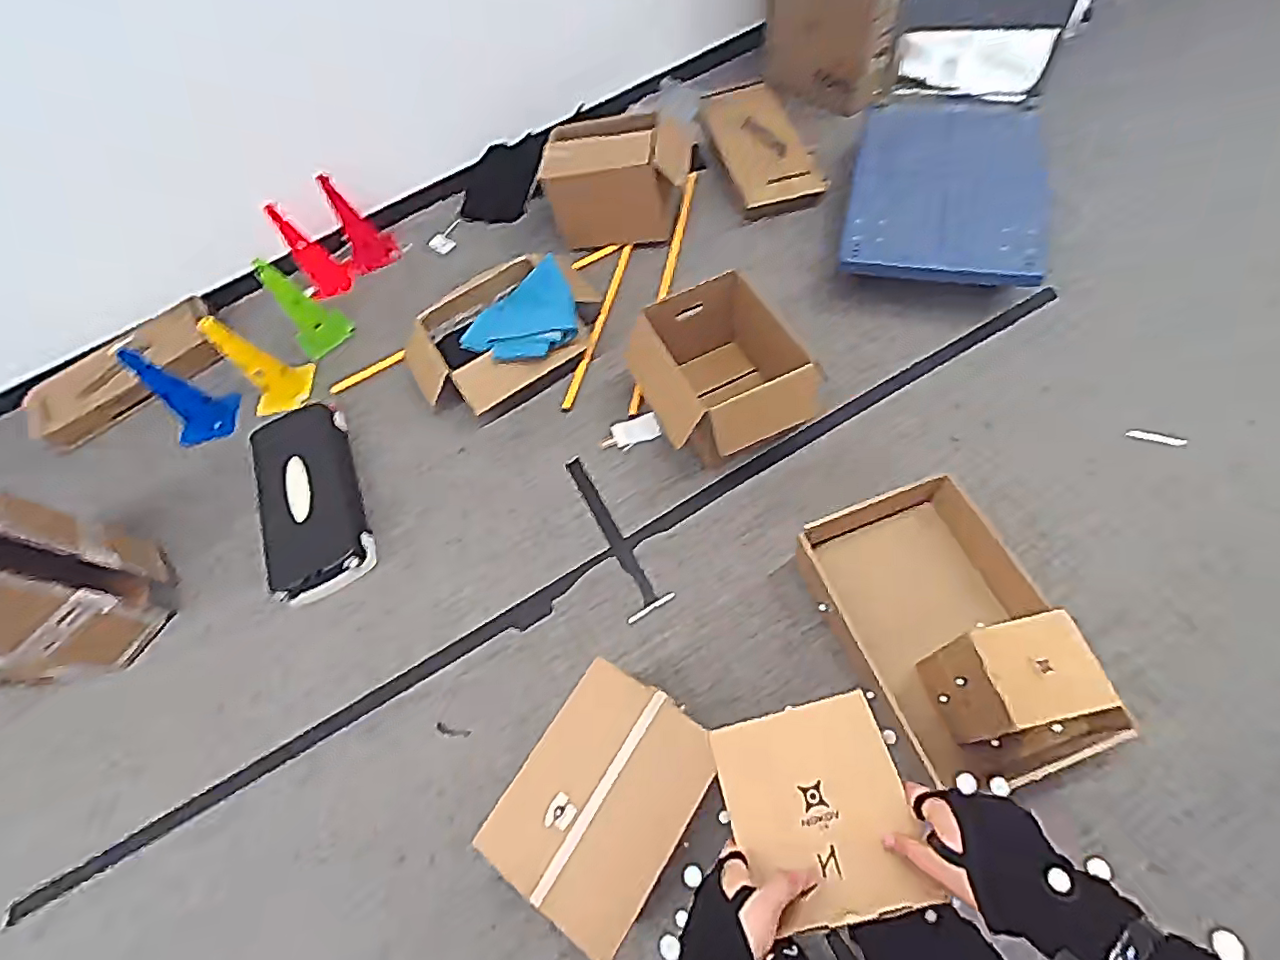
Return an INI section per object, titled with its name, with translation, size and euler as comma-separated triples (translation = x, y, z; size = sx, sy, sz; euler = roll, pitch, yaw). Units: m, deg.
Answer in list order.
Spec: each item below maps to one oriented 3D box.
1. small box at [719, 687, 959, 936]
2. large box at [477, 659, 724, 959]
[small box]
translation = 0.193, 0.339, 0.564
size = 0.168, 0.176, 0.179
euler = -18, 56, 8
[large box]
translation = -0.046, 0.646, 1.120
size = 0.320, 0.320, 0.408
euler = 28, 71, 22
